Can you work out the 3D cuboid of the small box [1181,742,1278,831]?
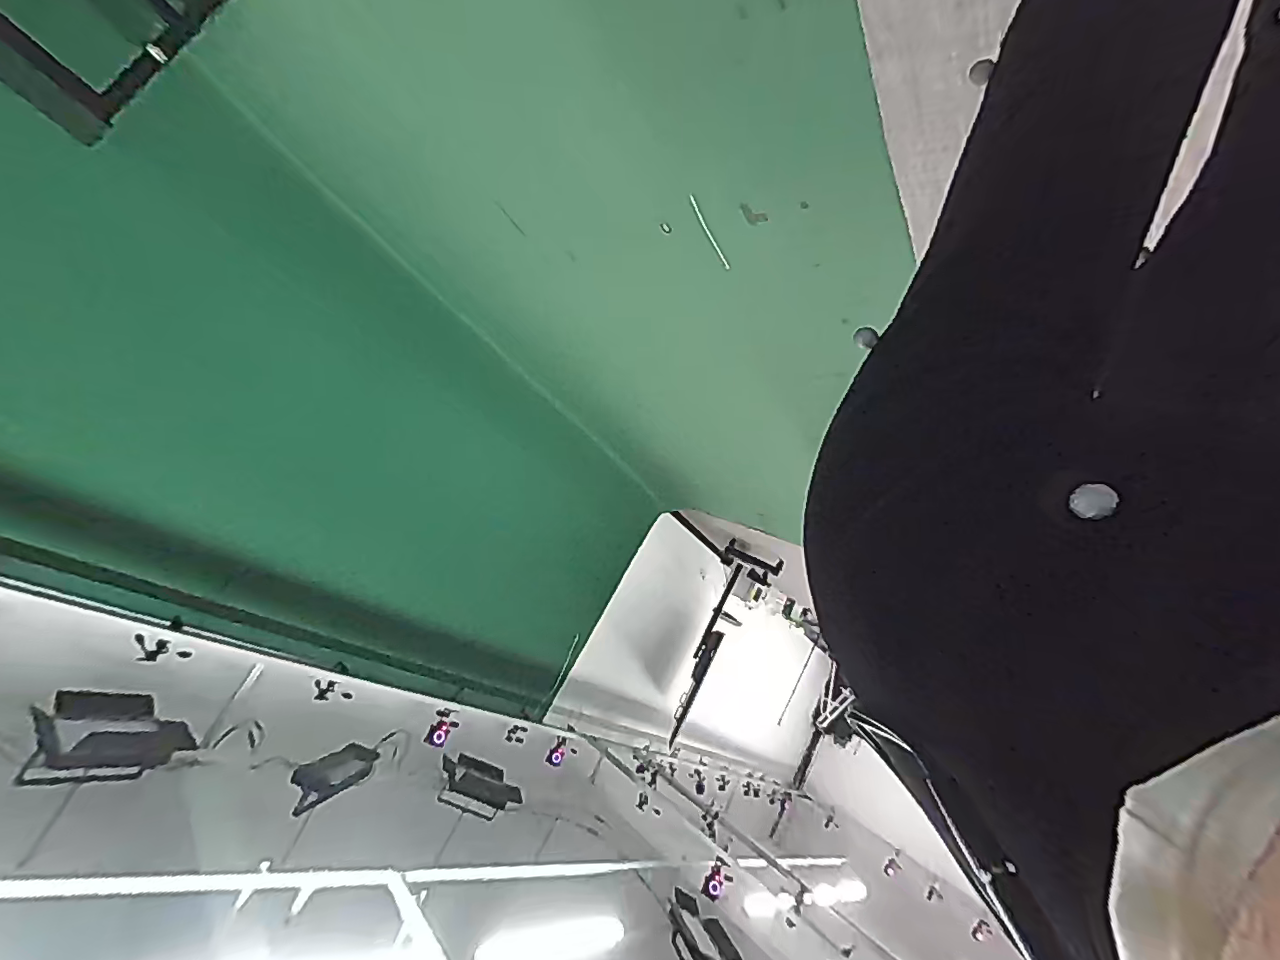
[{"bbox_3d":[1.762,0.912,1.620,0.168,0.176,0.179,16,162,47],"label":"small box"}]
